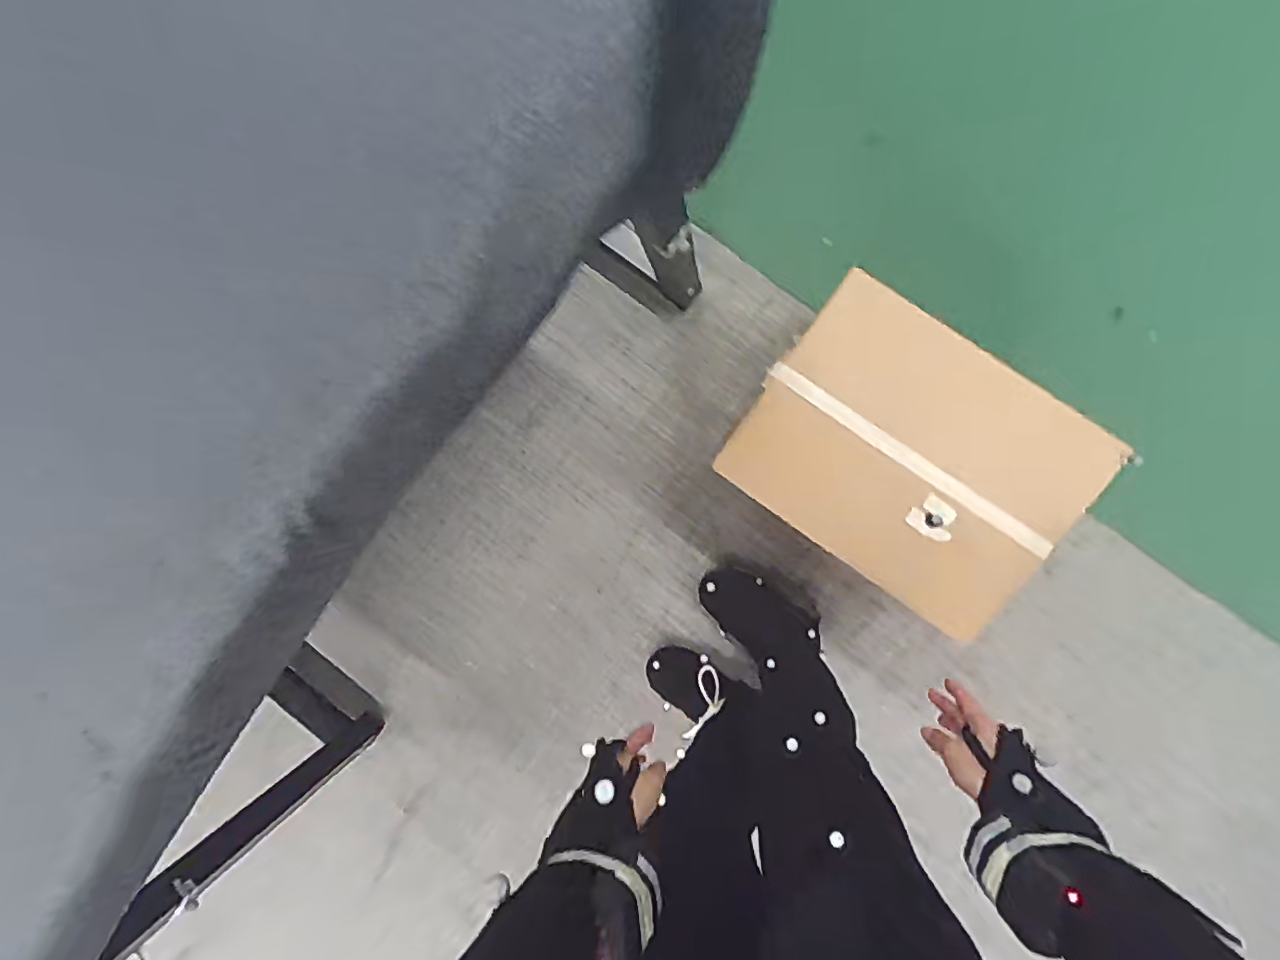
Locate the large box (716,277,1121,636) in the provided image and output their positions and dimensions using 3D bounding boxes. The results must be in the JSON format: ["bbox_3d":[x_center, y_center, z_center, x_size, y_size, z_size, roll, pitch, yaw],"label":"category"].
[{"bbox_3d":[0.366,-0.039,0.845,0.408,0.320,0.320,35,99,5],"label":"large box"}]
